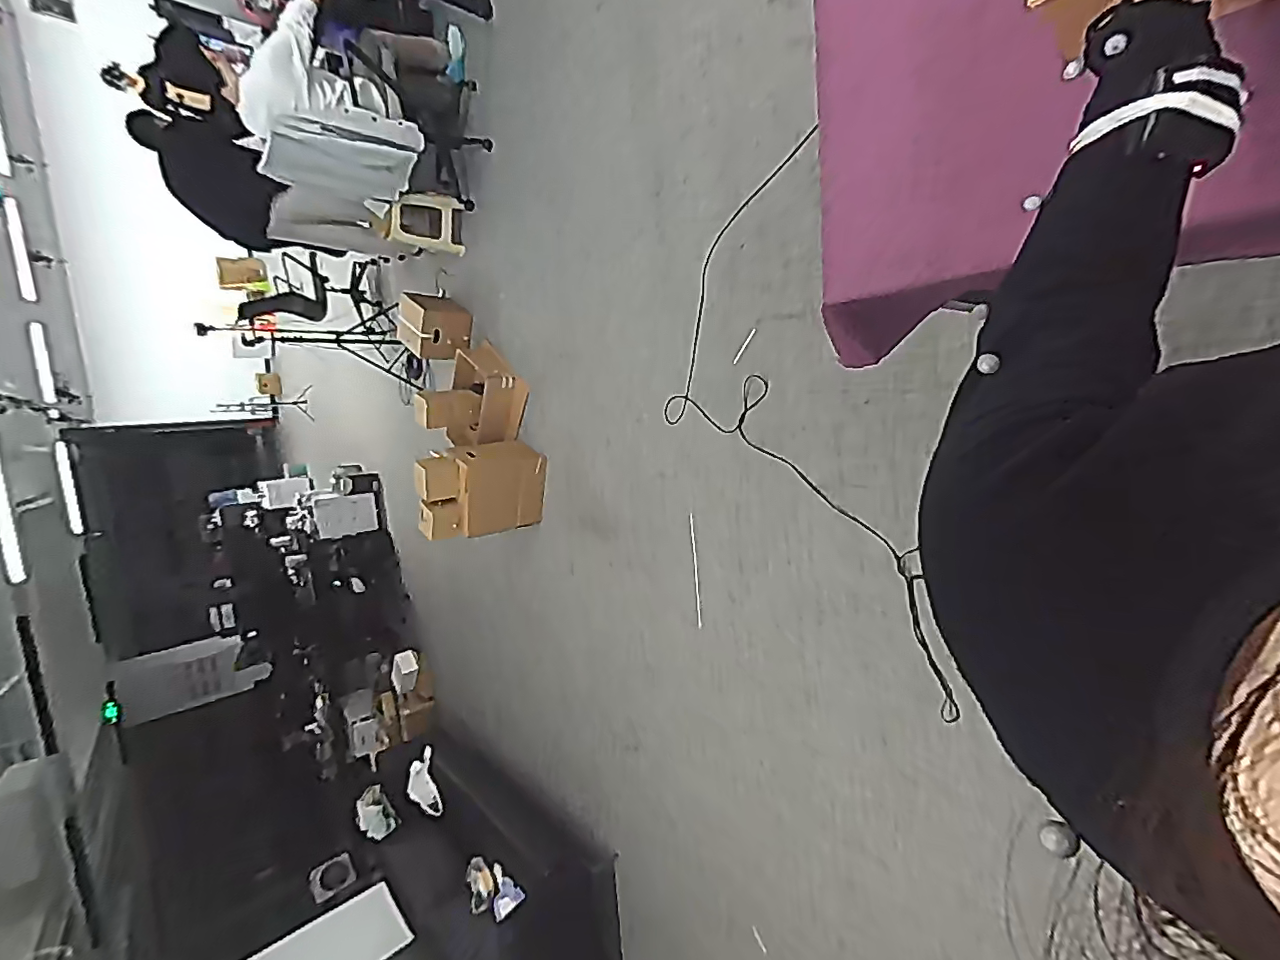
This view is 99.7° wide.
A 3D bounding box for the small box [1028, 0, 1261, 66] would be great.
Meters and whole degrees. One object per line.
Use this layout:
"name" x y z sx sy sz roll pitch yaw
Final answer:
"small box" 0.480 -0.533 0.493 0.168 0.176 0.179 9 105 48
